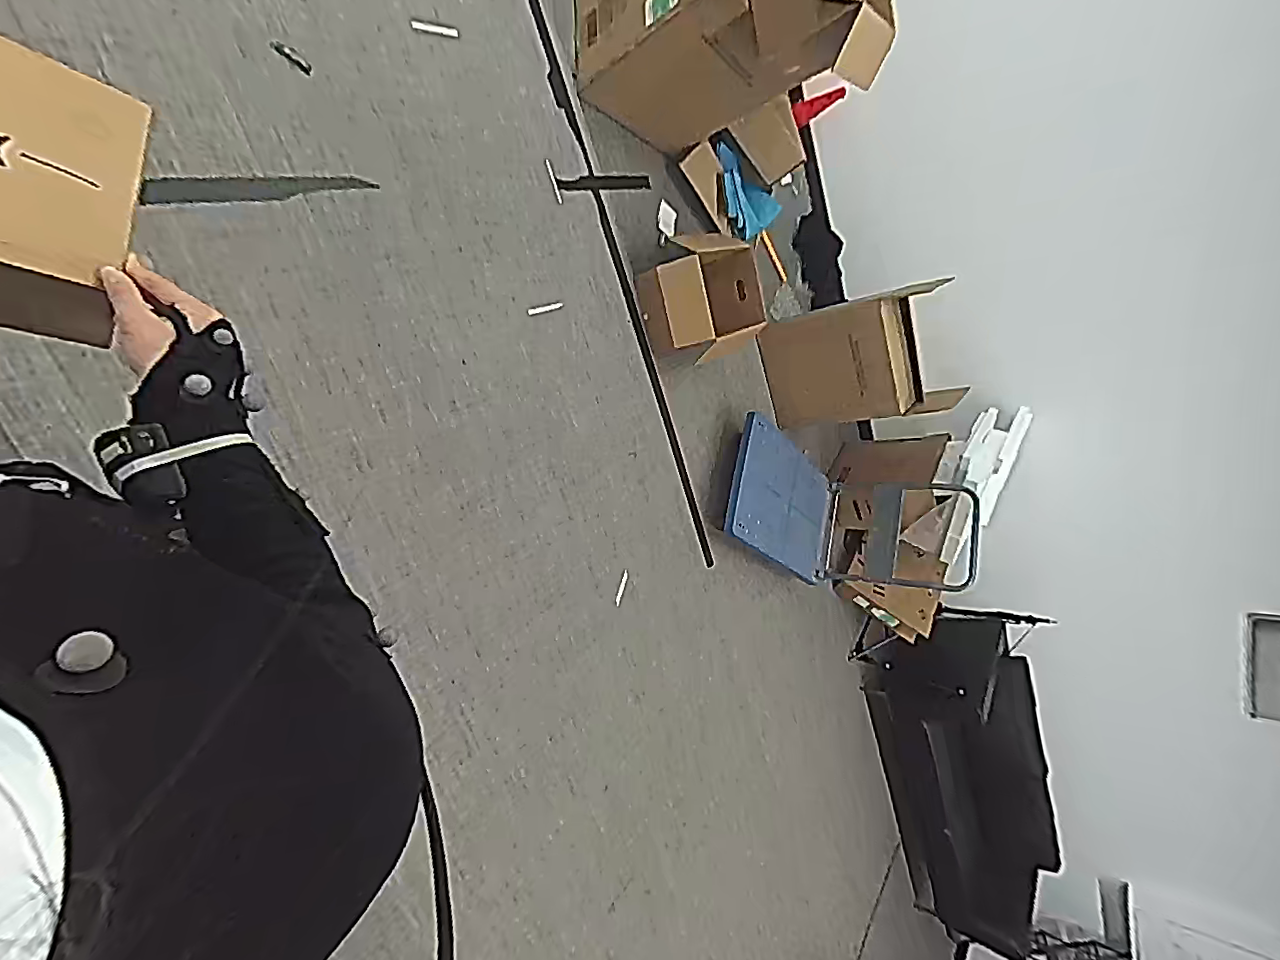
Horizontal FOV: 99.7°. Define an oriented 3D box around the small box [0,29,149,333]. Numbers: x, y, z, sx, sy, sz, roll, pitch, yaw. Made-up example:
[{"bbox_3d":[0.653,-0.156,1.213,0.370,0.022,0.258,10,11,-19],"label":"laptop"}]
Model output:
[{"bbox_3d":[-0.520,-0.232,0.420,0.179,0.176,0.168,10,77,-47],"label":"small box"}]
